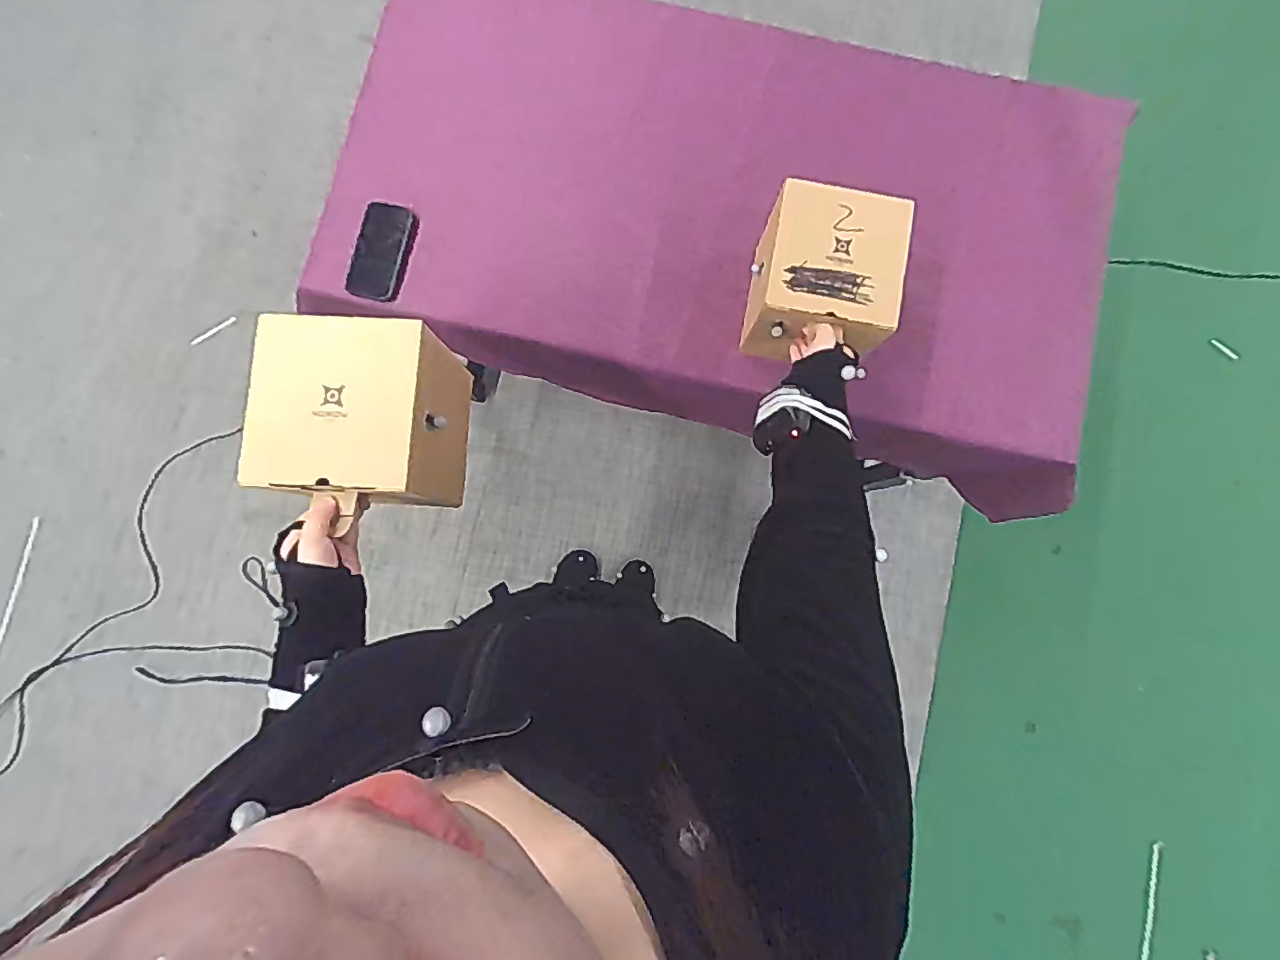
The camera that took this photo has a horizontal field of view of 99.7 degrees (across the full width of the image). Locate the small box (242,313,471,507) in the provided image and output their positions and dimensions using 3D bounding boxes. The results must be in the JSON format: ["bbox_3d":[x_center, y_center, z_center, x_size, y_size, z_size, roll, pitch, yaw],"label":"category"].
[{"bbox_3d":[-0.298,-0.066,0.610,0.168,0.176,0.179,3,83,-1],"label":"small box"}]
